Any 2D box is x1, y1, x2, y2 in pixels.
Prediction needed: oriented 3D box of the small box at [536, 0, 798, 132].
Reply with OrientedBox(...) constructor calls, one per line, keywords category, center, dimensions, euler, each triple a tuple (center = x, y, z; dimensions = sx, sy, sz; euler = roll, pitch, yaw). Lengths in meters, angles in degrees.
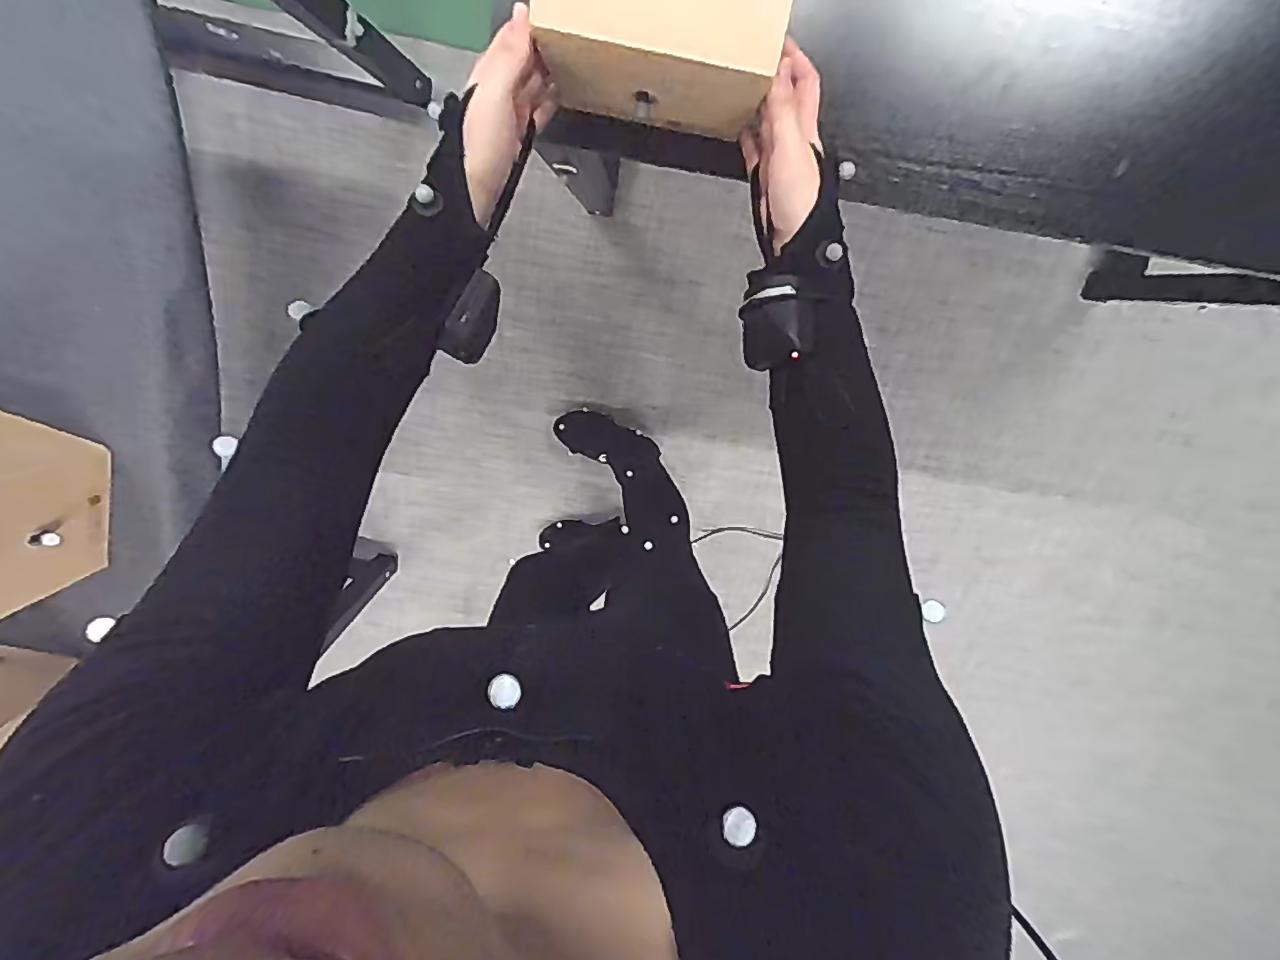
OrientedBox(category="small box", center=(0.029, -0.381, 0.394), dimensions=(0.168, 0.176, 0.179), euler=(9, 110, -3))
